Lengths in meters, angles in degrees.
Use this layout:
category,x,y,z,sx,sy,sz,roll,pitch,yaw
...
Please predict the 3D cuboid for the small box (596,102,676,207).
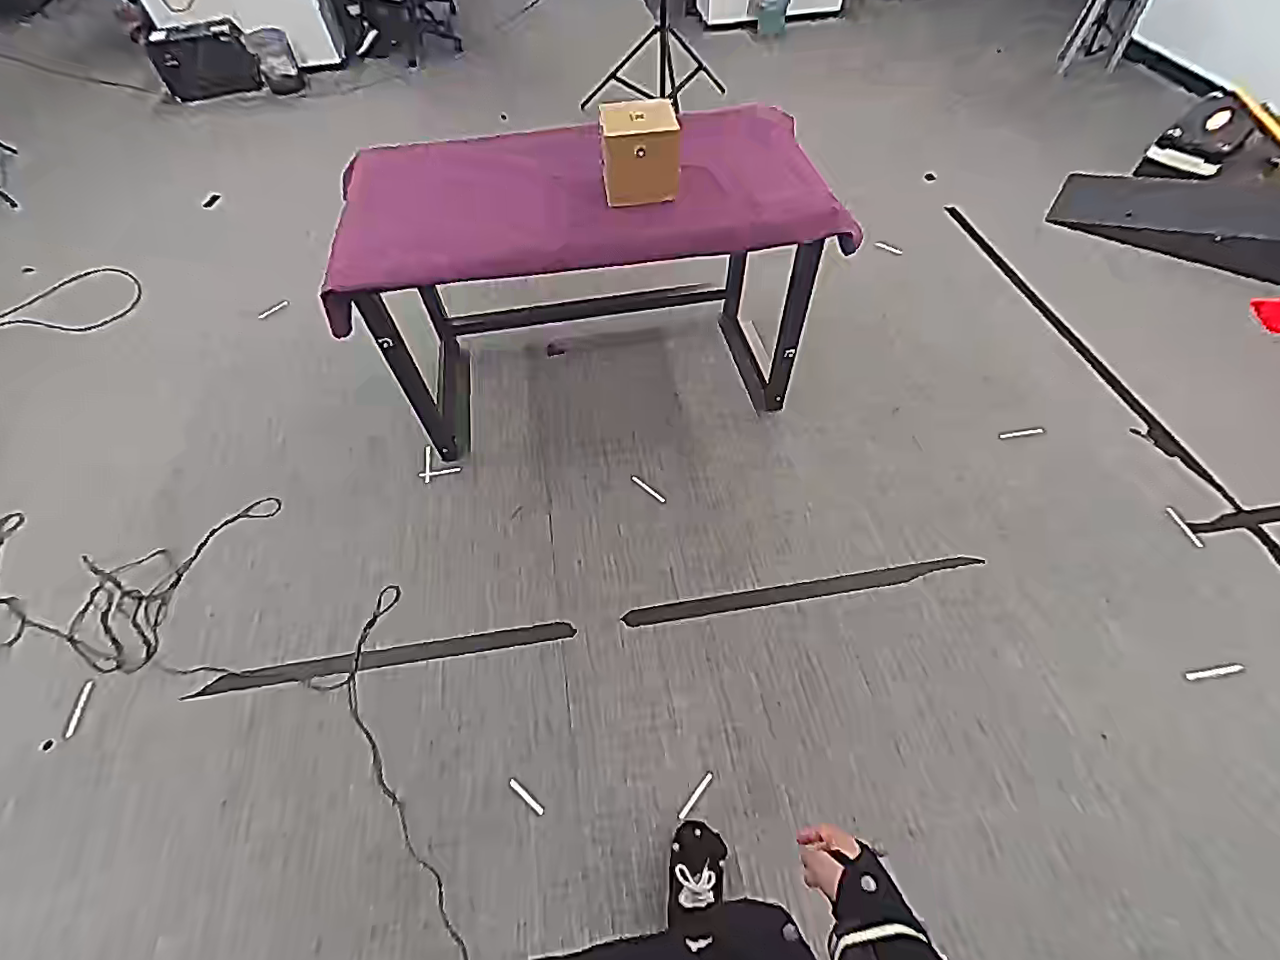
category,x,y,z,sx,sy,sz,roll,pitch,yaw
small box,-0.009,-0.794,1.328,0.179,0.176,0.168,-7,56,-3
